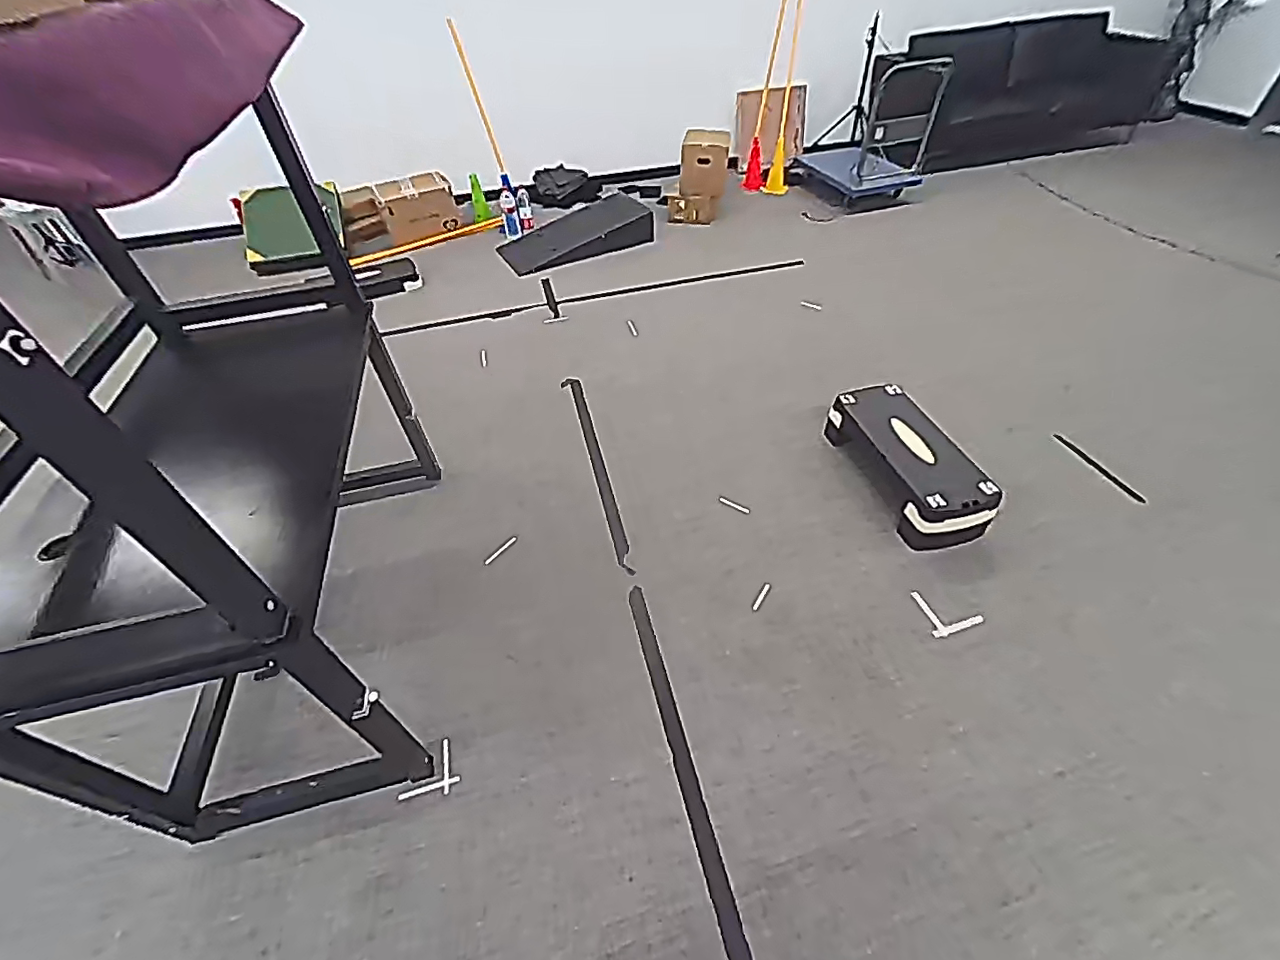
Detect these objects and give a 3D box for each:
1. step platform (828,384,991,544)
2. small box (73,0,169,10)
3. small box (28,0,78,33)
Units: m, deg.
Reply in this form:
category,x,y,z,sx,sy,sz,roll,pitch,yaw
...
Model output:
category,x,y,z,sx,sy,sz,roll,pitch,yaw
step platform,0.965,-0.091,2.012,0.286,0.204,0.684,-9,44,-4
small box,-0.944,-0.927,0.930,0.168,0.176,0.179,-14,46,-8
small box,-0.882,-0.671,0.677,0.168,0.176,0.179,-12,47,-7
